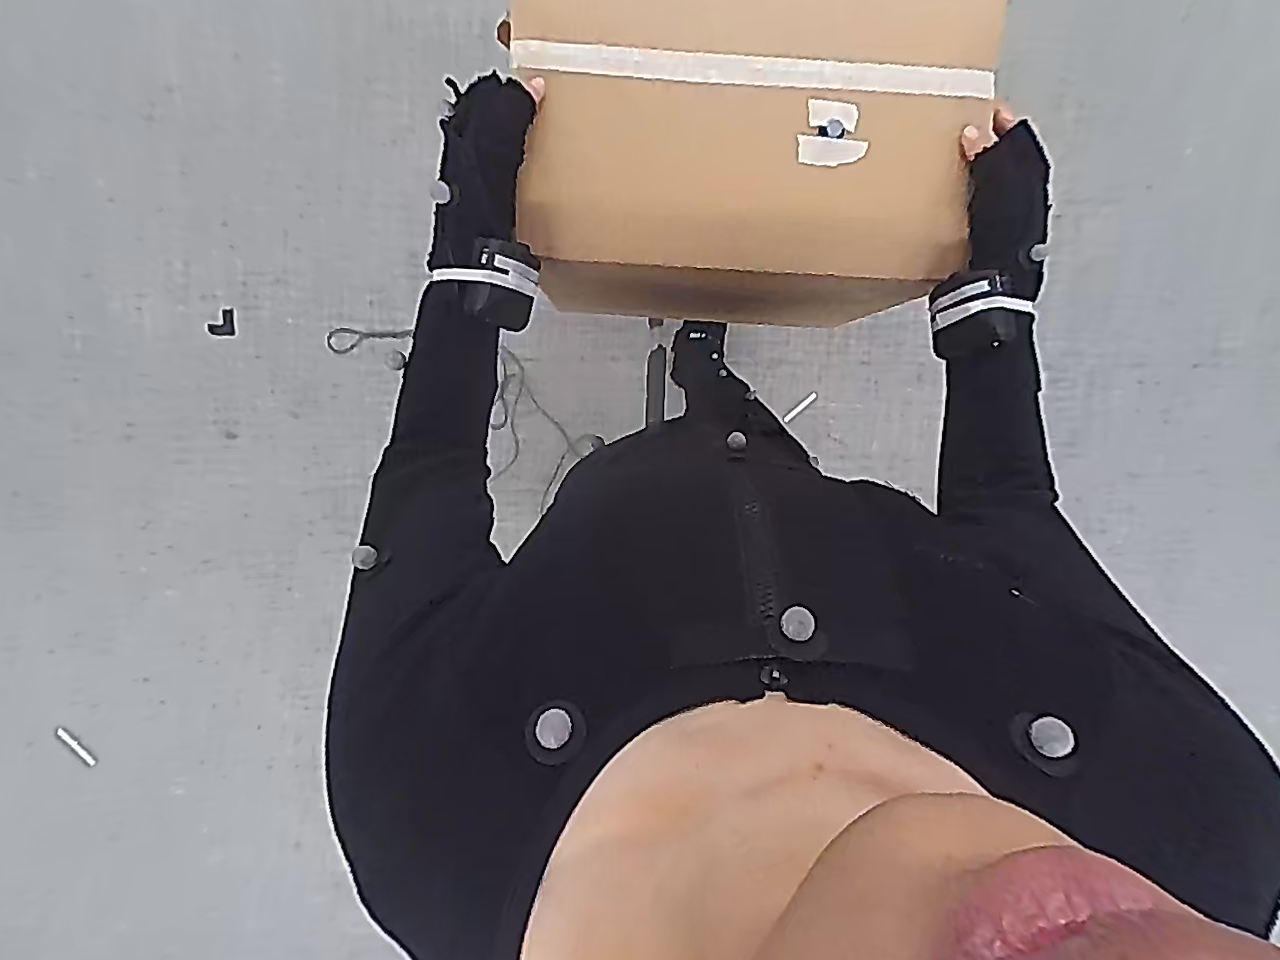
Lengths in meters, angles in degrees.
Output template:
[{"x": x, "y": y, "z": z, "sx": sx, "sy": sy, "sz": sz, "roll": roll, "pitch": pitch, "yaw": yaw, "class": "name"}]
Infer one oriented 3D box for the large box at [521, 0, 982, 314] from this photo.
[{"x": 0.089, "y": -0.376, "z": 0.618, "sx": 0.408, "sy": 0.320, "sz": 0.320, "roll": 2, "pitch": 99, "yaw": -3, "class": "large box"}]
